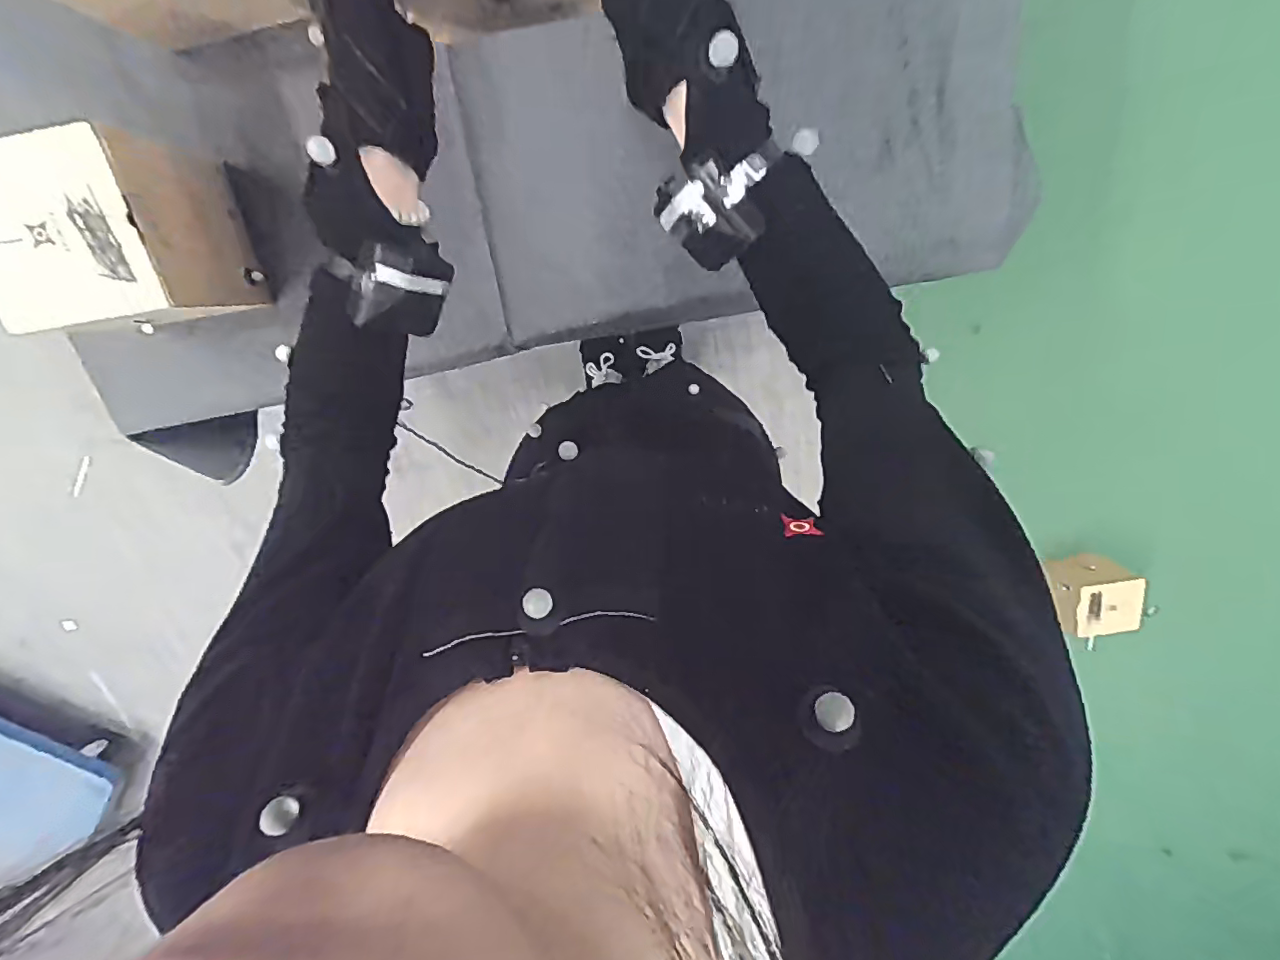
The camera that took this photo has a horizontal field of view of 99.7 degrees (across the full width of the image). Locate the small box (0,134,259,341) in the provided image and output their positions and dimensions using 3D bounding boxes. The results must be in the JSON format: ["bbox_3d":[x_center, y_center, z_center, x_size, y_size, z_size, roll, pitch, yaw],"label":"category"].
[{"bbox_3d":[-0.566,-0.254,0.595,0.179,0.176,0.168,-9,108,3],"label":"small box"}]

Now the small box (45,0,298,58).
[{"bbox_3d":[-0.459,-0.534,0.501,0.179,0.176,0.168,-11,109,3],"label":"small box"}]
